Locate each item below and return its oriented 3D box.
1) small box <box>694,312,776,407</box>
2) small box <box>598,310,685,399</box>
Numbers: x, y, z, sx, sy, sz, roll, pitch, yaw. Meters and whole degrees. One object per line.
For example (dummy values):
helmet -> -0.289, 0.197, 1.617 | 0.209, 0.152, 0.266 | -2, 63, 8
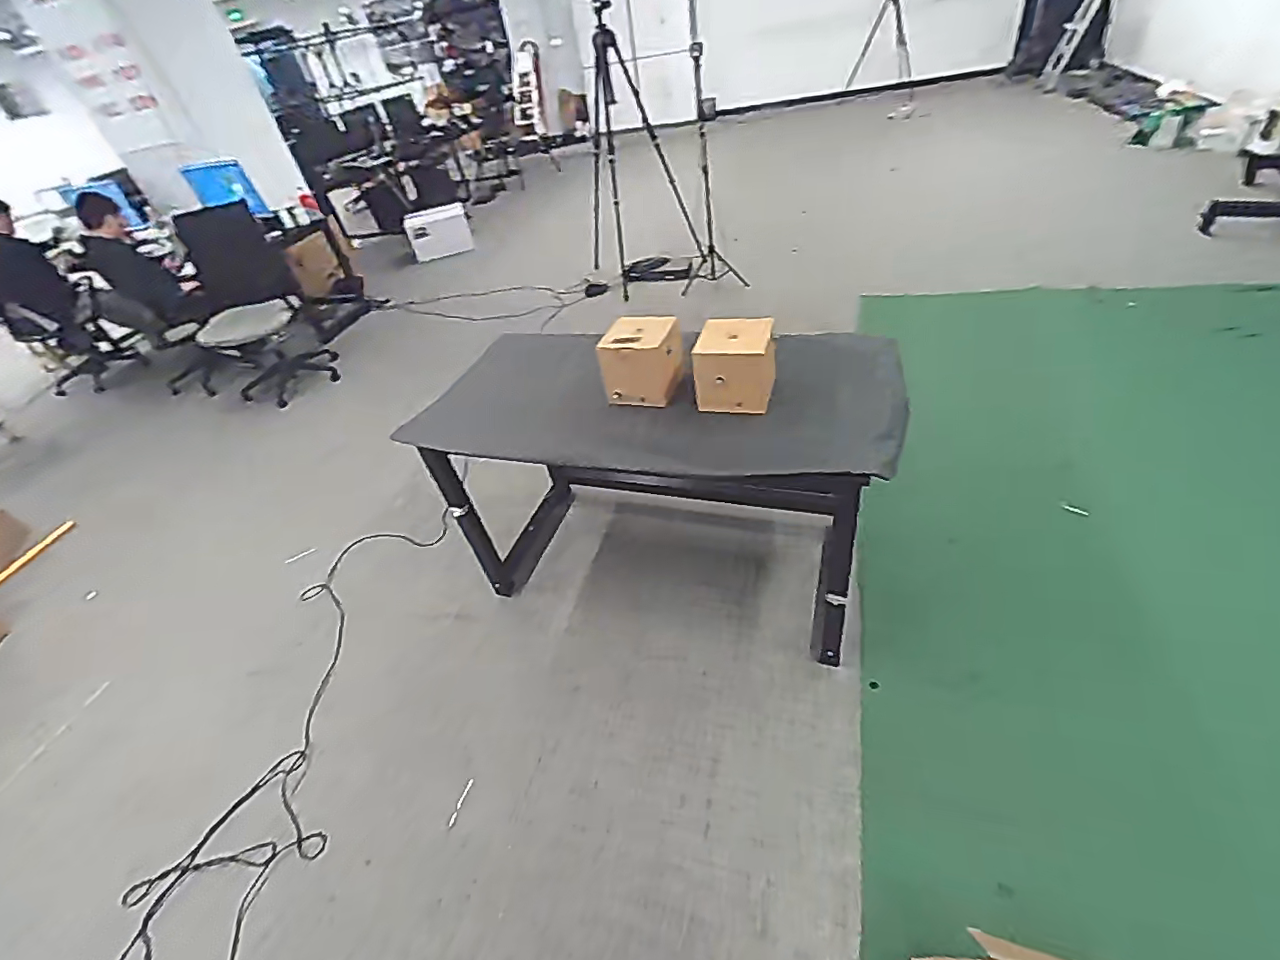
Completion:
small box -> 0.240, -0.293, 1.323 | 0.168, 0.176, 0.179 | 5, 43, 20
small box -> 0.013, -0.327, 1.416 | 0.168, 0.176, 0.179 | 7, 44, 21
